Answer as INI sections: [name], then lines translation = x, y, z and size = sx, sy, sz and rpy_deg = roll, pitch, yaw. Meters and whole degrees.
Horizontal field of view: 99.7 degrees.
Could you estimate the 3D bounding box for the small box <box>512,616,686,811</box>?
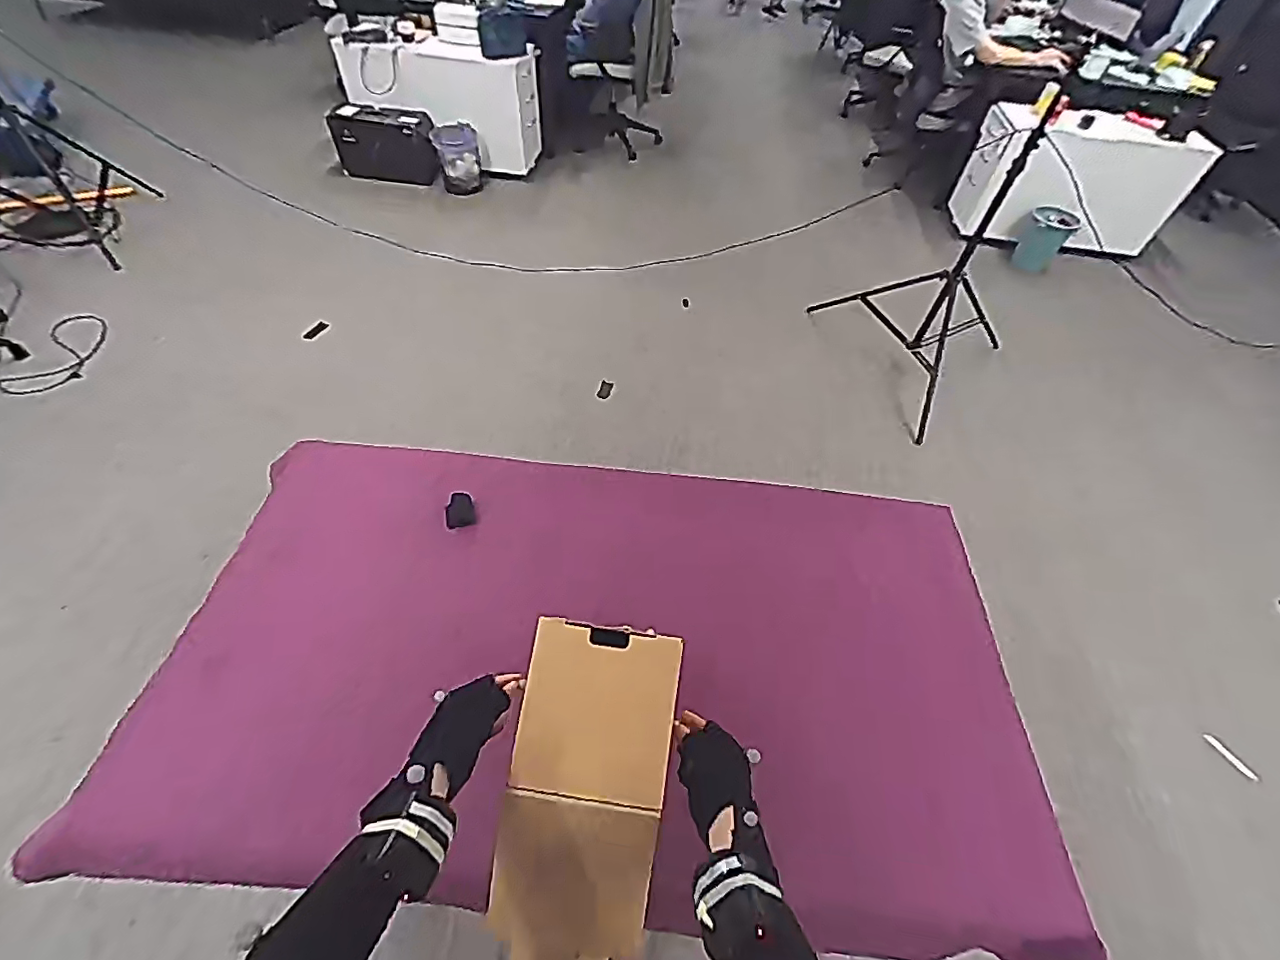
[small box]
translation = -0.044, 0.272, 0.655
size = 0.168, 0.176, 0.179
rpy_deg = 8, 71, 1
